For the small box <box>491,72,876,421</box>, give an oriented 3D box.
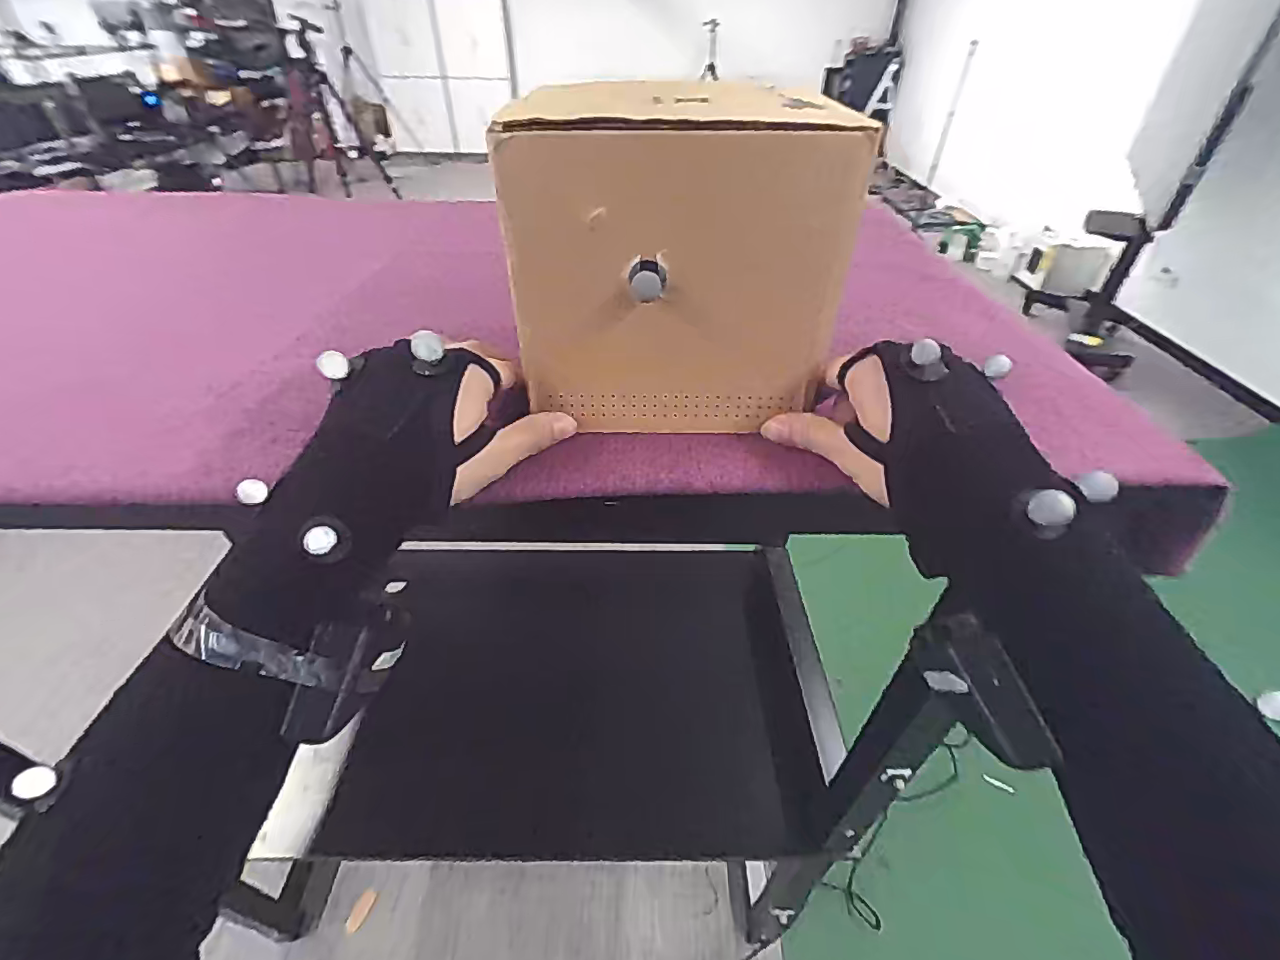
[{"bbox_3d":[0.022,-0.150,0.351,0.179,0.176,0.168,0,42,0],"label":"small box"}]
